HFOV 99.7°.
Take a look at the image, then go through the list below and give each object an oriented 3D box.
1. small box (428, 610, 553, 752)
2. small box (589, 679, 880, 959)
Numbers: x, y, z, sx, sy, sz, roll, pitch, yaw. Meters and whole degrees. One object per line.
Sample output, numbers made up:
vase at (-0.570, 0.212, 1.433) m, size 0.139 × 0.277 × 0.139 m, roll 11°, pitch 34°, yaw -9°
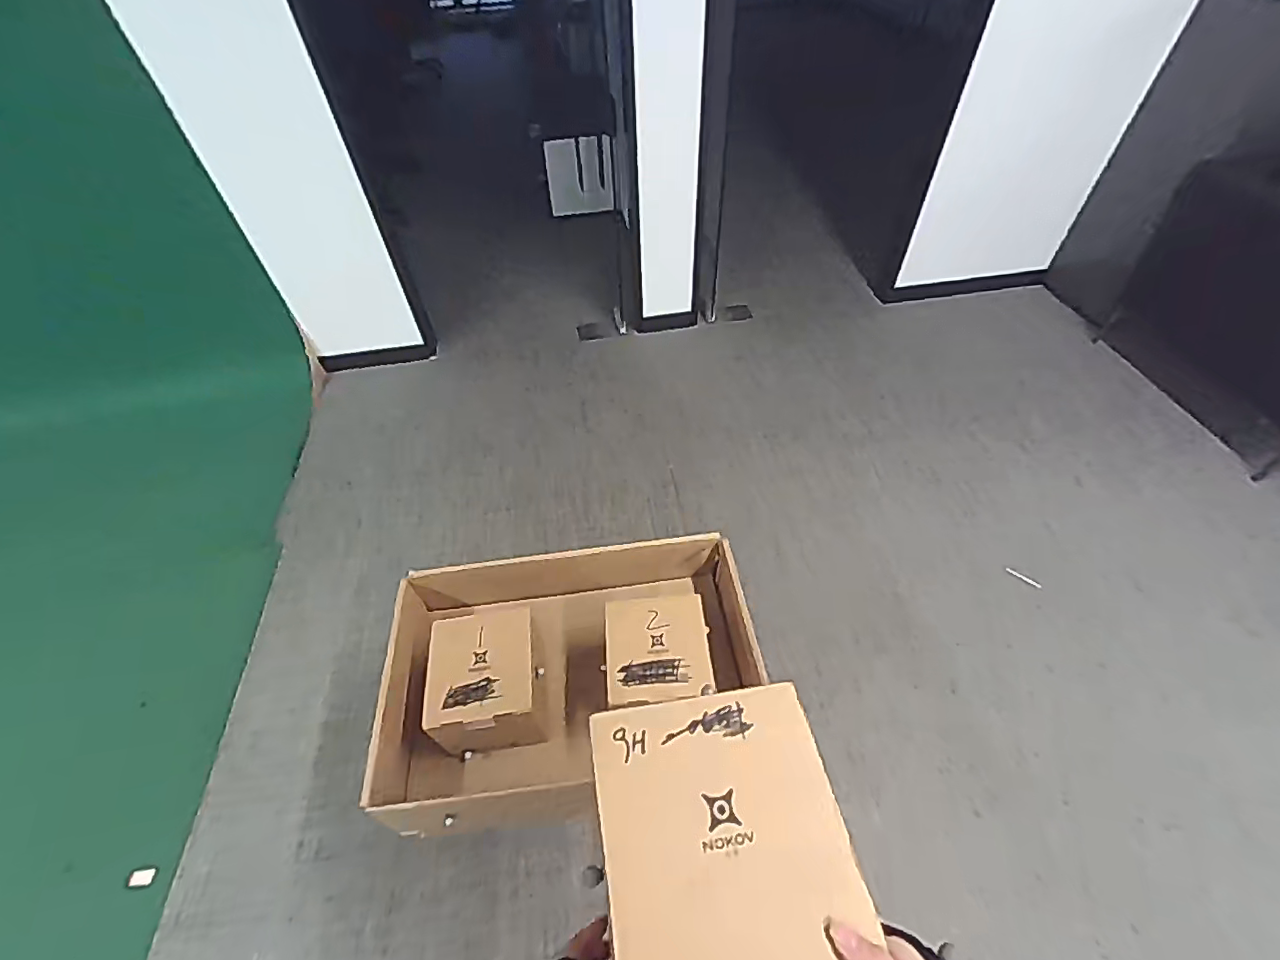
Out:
small box at (-0.245, 0.350, 0.925) m, size 0.168 × 0.176 × 0.179 m, roll -8°, pitch 49°, yaw -4°
small box at (0.052, 0.284, 0.430) m, size 0.168 × 0.176 × 0.179 m, roll -6°, pitch 50°, yaw -8°
